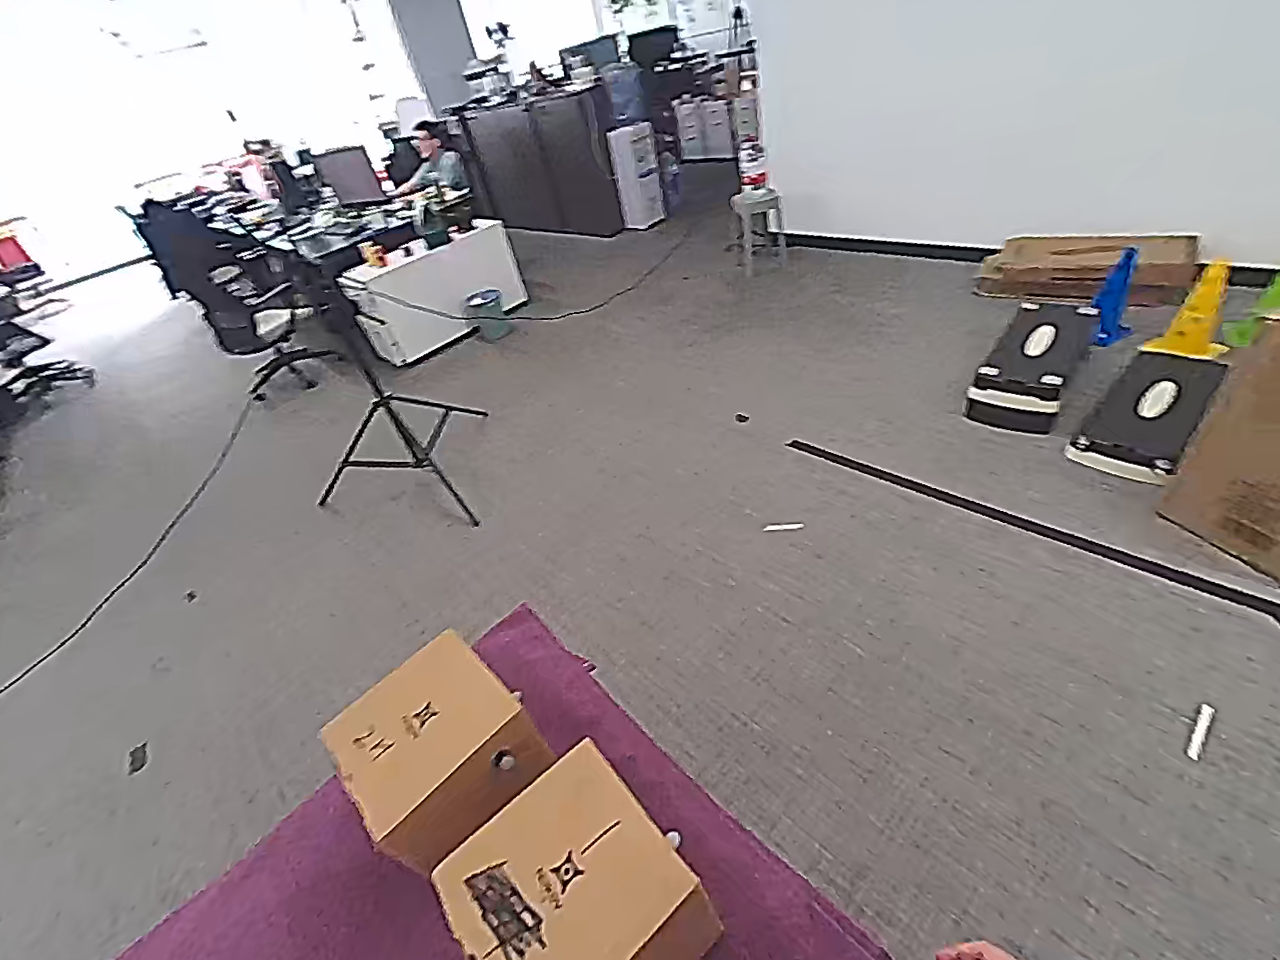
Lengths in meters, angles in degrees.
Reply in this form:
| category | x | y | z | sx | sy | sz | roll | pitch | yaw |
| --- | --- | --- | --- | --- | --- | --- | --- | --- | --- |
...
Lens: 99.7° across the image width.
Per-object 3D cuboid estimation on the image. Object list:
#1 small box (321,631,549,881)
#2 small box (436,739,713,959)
| category | x | y | z | sx | sy | sz | roll | pitch | yaw |
| --- | --- | --- | --- | --- | --- | --- | --- | --- | --- |
| small box | -0.228 | 0.324 | 0.643 | 0.168 | 0.176 | 0.179 | 27 | 55 | 39 |
| small box | -0.051 | 0.395 | 0.503 | 0.179 | 0.176 | 0.168 | -35 | 42 | -23 |
